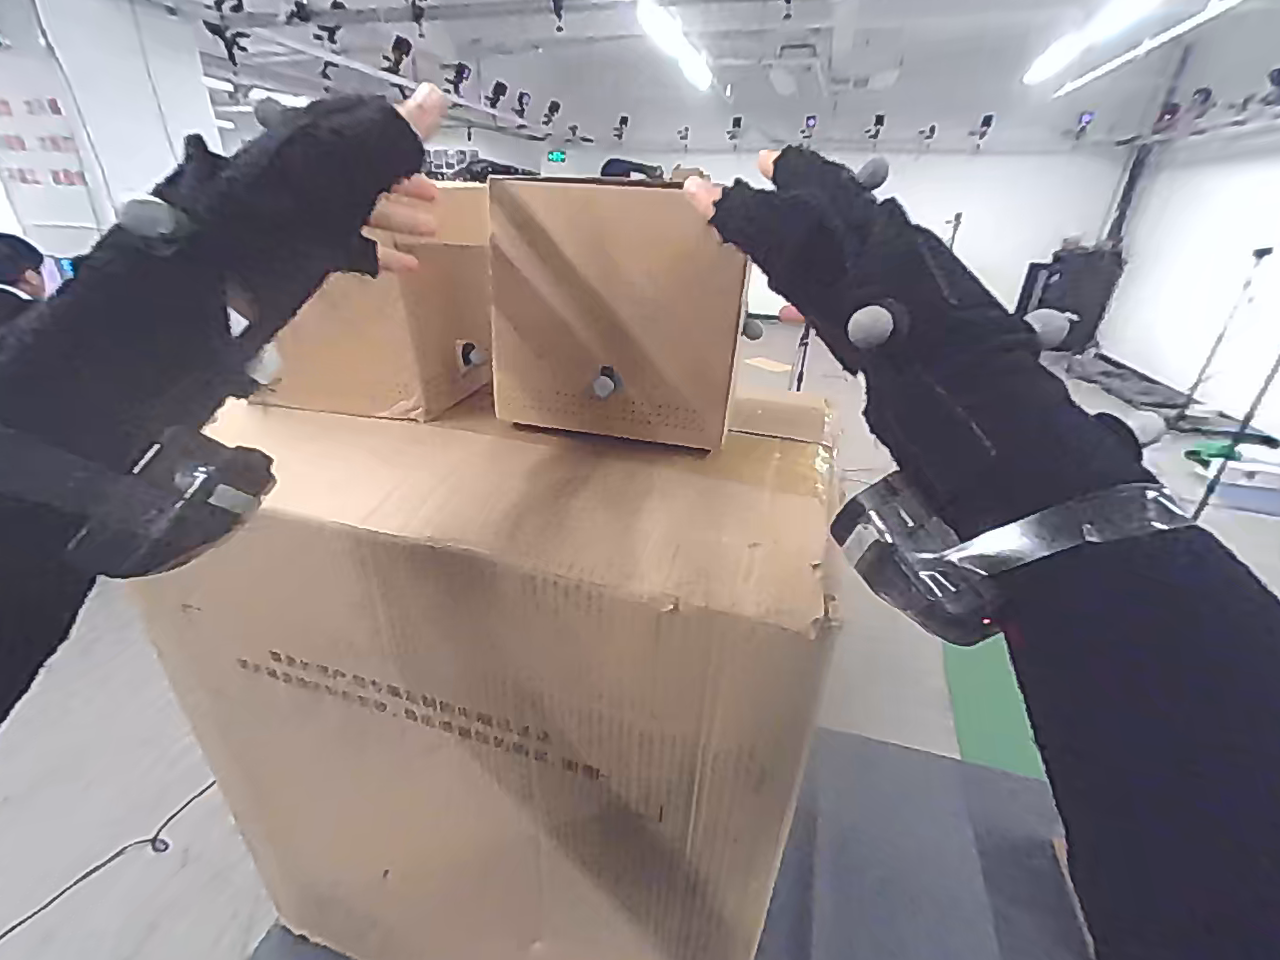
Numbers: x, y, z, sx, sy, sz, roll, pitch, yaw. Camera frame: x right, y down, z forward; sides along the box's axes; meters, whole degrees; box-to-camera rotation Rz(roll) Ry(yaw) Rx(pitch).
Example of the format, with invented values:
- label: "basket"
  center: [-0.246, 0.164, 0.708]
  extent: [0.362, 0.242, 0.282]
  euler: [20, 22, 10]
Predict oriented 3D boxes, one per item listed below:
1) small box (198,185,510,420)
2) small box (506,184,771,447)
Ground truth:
- label: "small box"
  center: [-0.221, -0.163, 0.479]
  extent: [0.179, 0.176, 0.168]
  euler: [8, 31, 11]
- label: "small box"
  center: [0.005, -0.135, 0.447]
  extent: [0.179, 0.176, 0.168]
  euler: [9, 22, 10]
